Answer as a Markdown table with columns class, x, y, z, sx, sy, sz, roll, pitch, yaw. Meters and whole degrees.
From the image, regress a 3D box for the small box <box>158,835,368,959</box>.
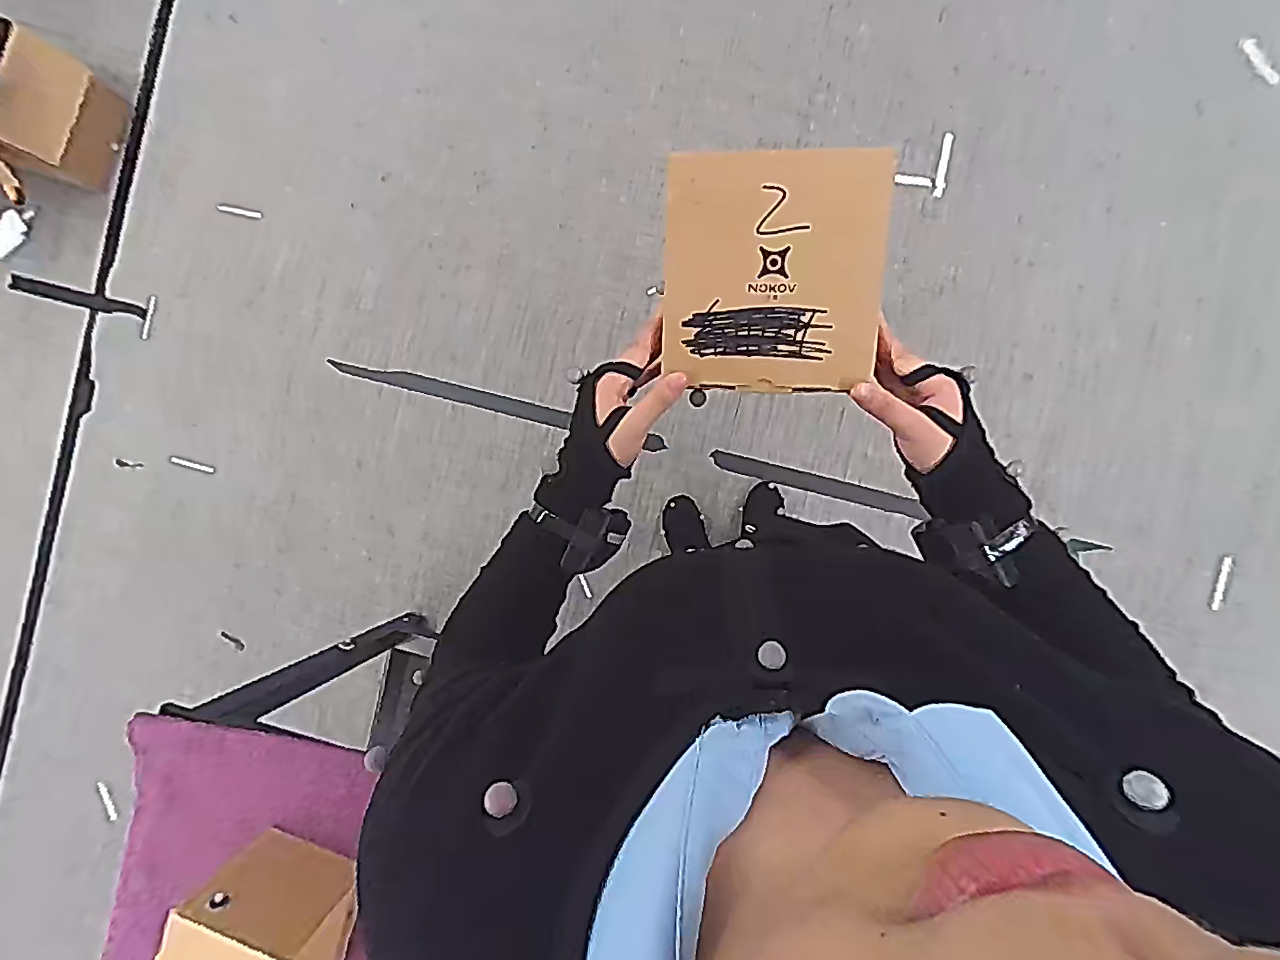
| class | x | y | z | sx | sy | sz | roll | pitch | yaw |
| --- | --- | --- | --- | --- | --- | --- | --- | --- | --- |
| small box | -0.515 | 0.637 | 0.746 | 0.179 | 0.176 | 0.168 | 17 | 92 | 7 |
